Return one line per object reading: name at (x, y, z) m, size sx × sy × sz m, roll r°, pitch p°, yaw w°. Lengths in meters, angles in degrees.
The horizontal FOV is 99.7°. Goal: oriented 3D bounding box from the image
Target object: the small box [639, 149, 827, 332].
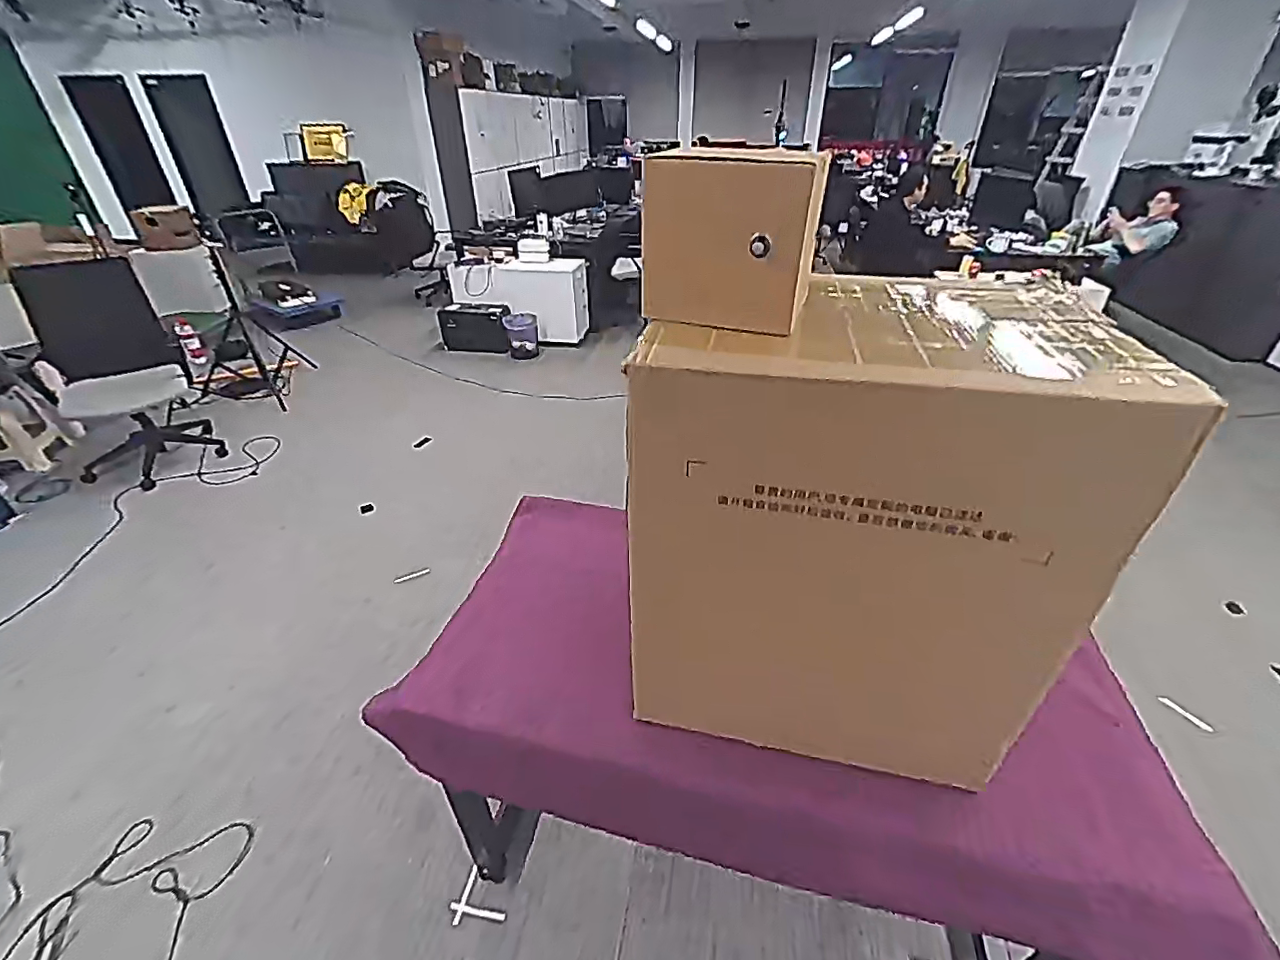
small box at (0.107, -0.280, 0.630) m, size 0.179 × 0.176 × 0.168 m, roll 11°, pitch 35°, yaw 17°
